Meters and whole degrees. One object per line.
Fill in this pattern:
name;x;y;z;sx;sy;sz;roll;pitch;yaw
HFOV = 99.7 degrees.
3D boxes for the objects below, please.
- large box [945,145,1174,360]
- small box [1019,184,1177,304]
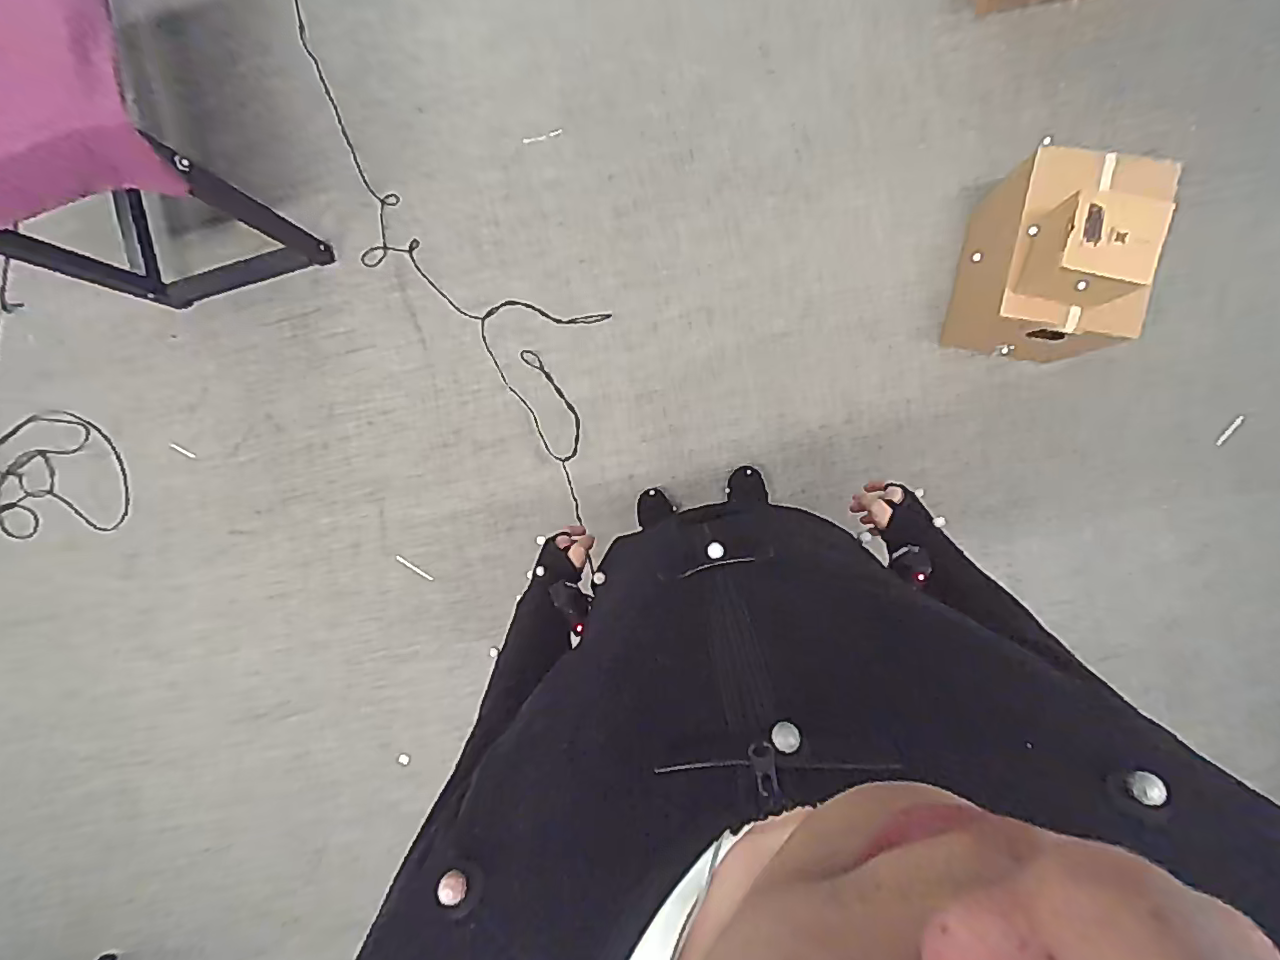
large box;1.037;-0.552;1.384;0.320;0.320;0.408;11;92;4
small box;0.955;-0.490;1.147;0.179;0.176;0.168;15;93;6
